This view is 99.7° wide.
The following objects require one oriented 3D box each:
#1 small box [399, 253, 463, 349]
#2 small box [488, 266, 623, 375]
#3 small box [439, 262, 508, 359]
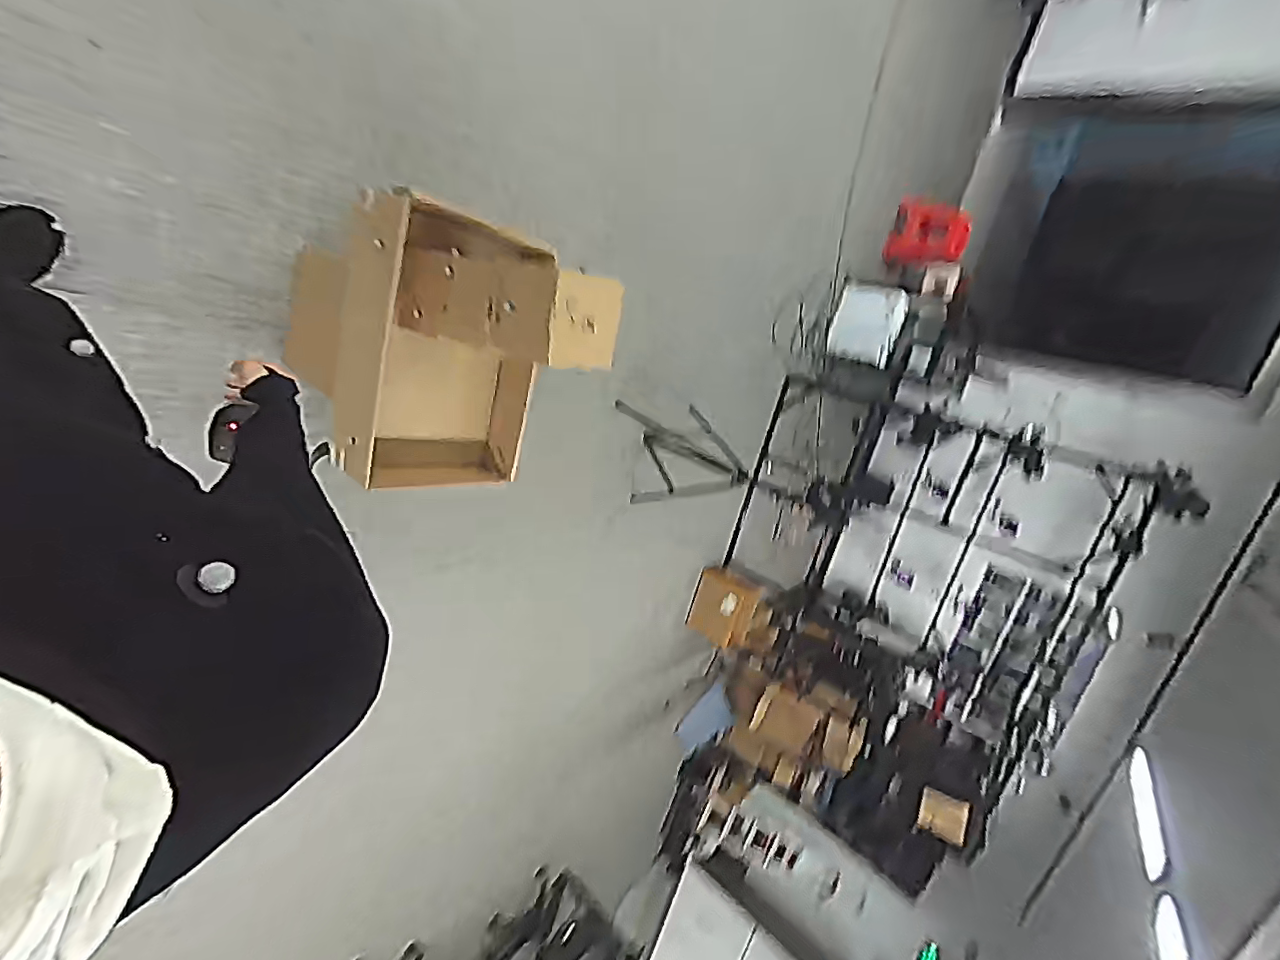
[{"bbox_3d":[-0.421,-0.396,1.211,0.168,0.176,0.179,-11,118,-51],"label":"small box"},{"bbox_3d":[-0.162,-0.303,1.032,0.179,0.176,0.168,-11,118,-51],"label":"small box"},{"bbox_3d":[-0.294,-0.346,1.123,0.179,0.176,0.168,-8,116,-52],"label":"small box"}]
